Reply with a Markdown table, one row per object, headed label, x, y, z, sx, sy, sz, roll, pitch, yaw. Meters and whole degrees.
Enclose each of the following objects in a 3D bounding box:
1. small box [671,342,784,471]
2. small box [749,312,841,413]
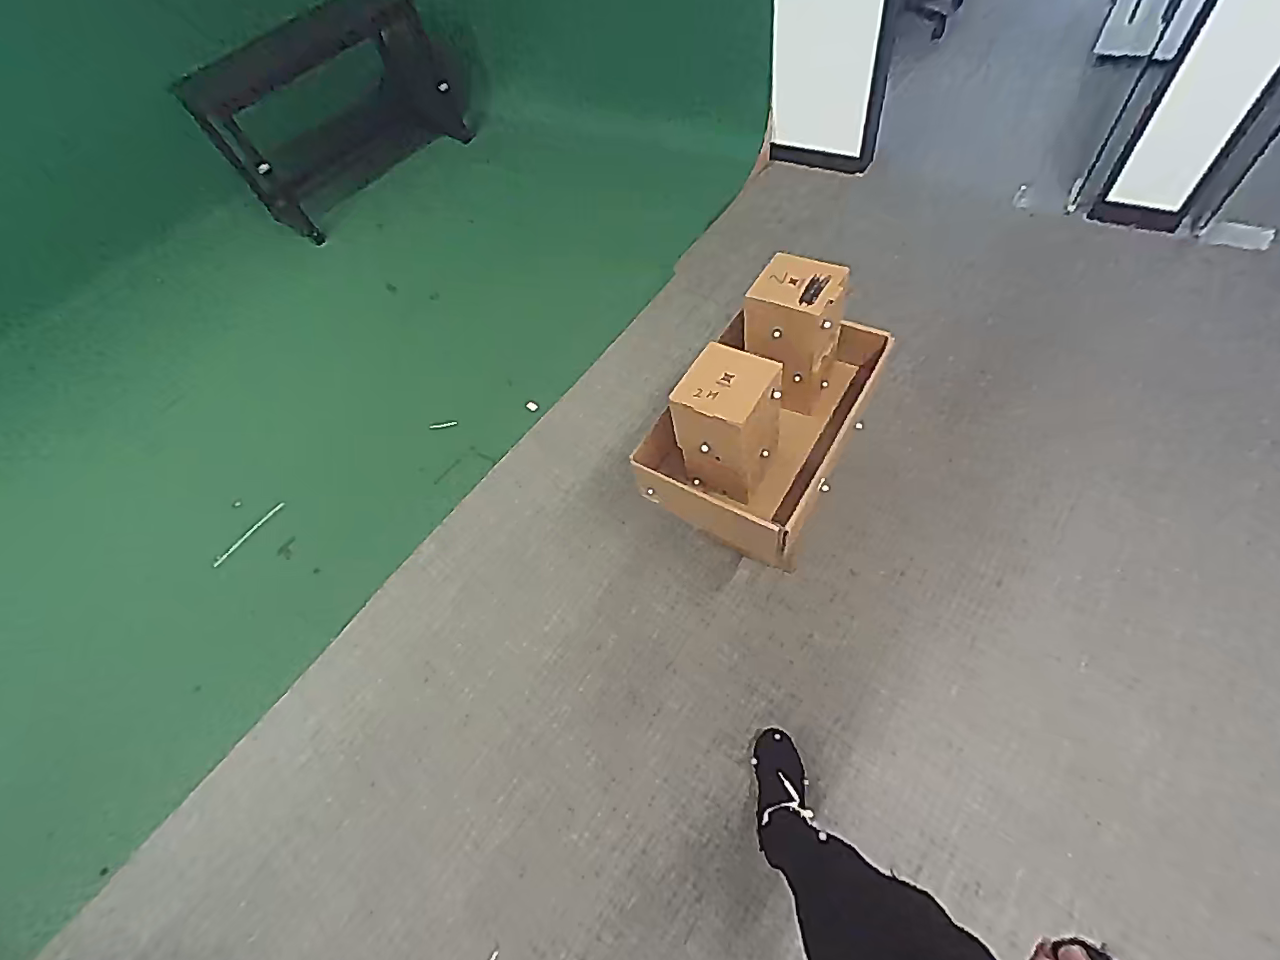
| label | x | y | z | sx | sy | sz | roll | pitch | yaw |
| --- | --- | --- | --- | --- | --- | --- | --- | --- | --- |
| small box | 0.184 | -0.152 | 1.134 | 0.168 | 0.176 | 0.179 | 26 | 67 | 26 |
| small box | 0.390 | -0.298 | 1.386 | 0.179 | 0.176 | 0.168 | 22 | 64 | 22 |
